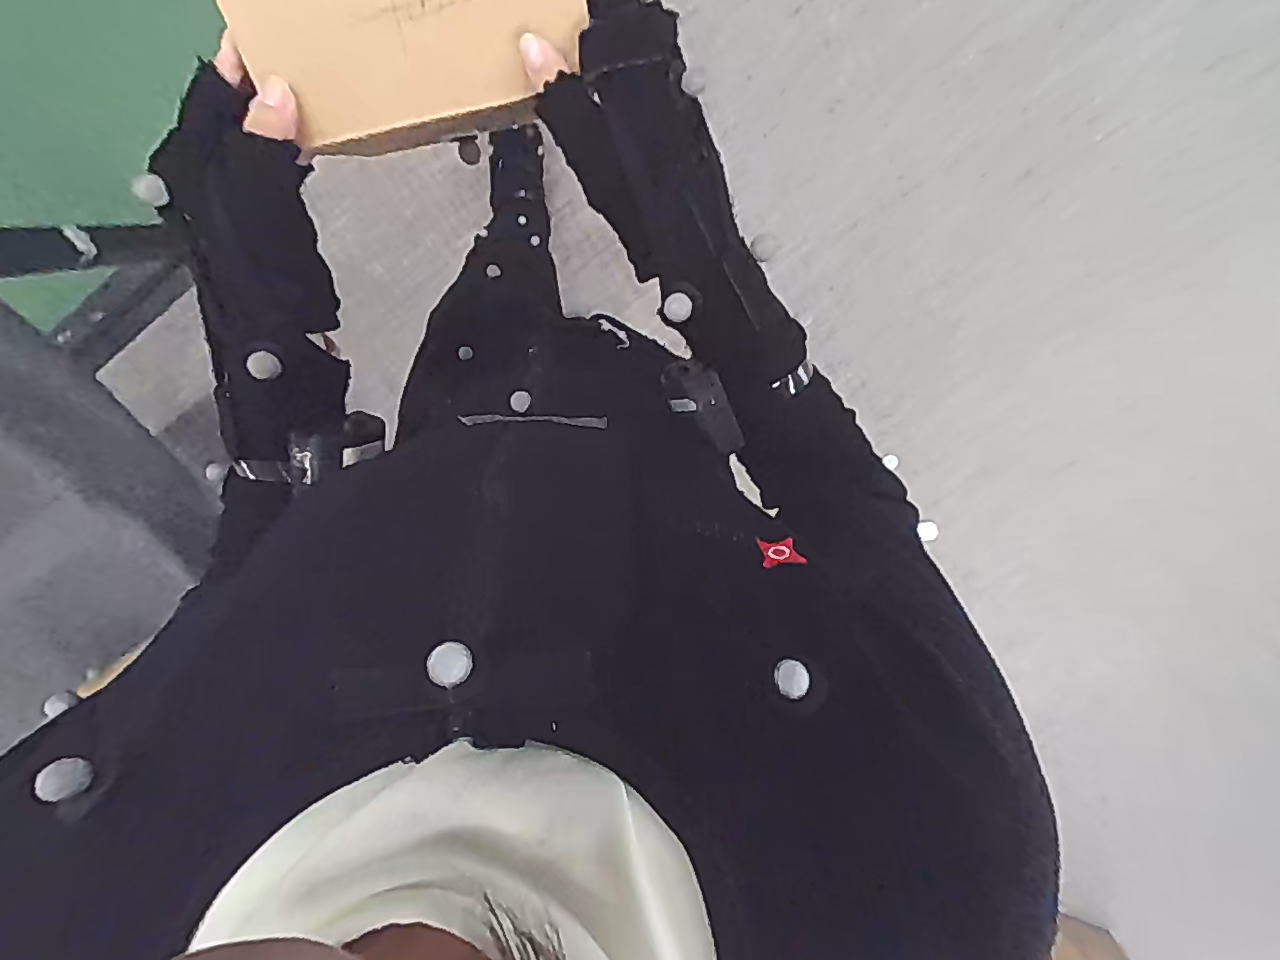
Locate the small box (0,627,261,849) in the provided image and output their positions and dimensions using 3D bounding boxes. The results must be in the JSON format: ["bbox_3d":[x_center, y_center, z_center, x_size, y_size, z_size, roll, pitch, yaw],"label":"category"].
[{"bbox_3d":[-0.656,0.331,0.710,0.179,0.176,0.168,-32,115,12],"label":"small box"}]

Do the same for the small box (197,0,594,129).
[{"bbox_3d":[-0.122,-0.297,0.275,0.168,0.176,0.179,-10,121,0],"label":"small box"}]
